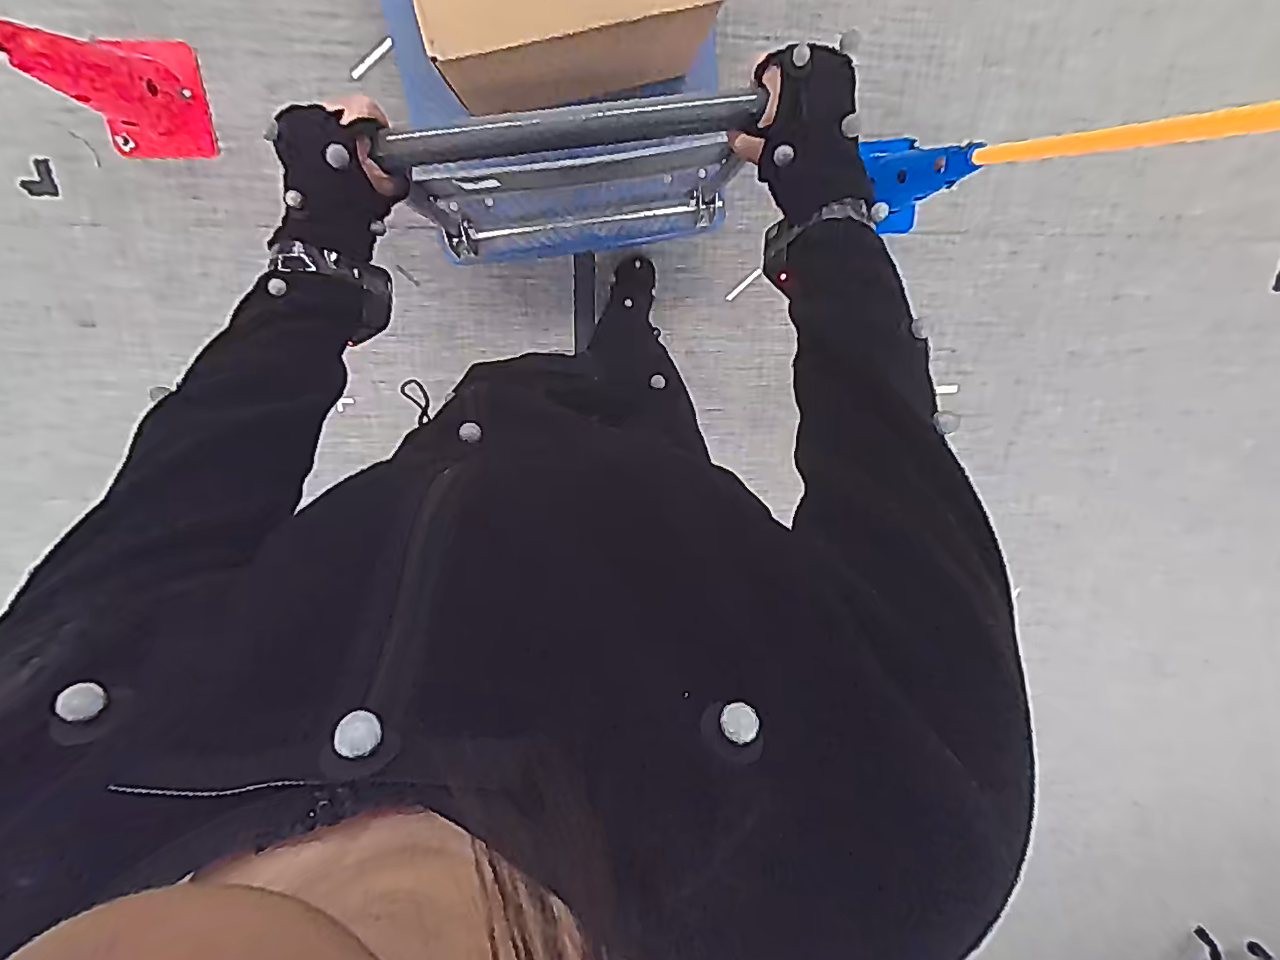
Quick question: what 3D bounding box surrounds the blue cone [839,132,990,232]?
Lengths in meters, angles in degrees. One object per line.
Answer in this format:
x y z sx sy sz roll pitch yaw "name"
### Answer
0.575 -0.636 1.115 0.193 0.380 0.192 -5 110 -4 "blue cone"
